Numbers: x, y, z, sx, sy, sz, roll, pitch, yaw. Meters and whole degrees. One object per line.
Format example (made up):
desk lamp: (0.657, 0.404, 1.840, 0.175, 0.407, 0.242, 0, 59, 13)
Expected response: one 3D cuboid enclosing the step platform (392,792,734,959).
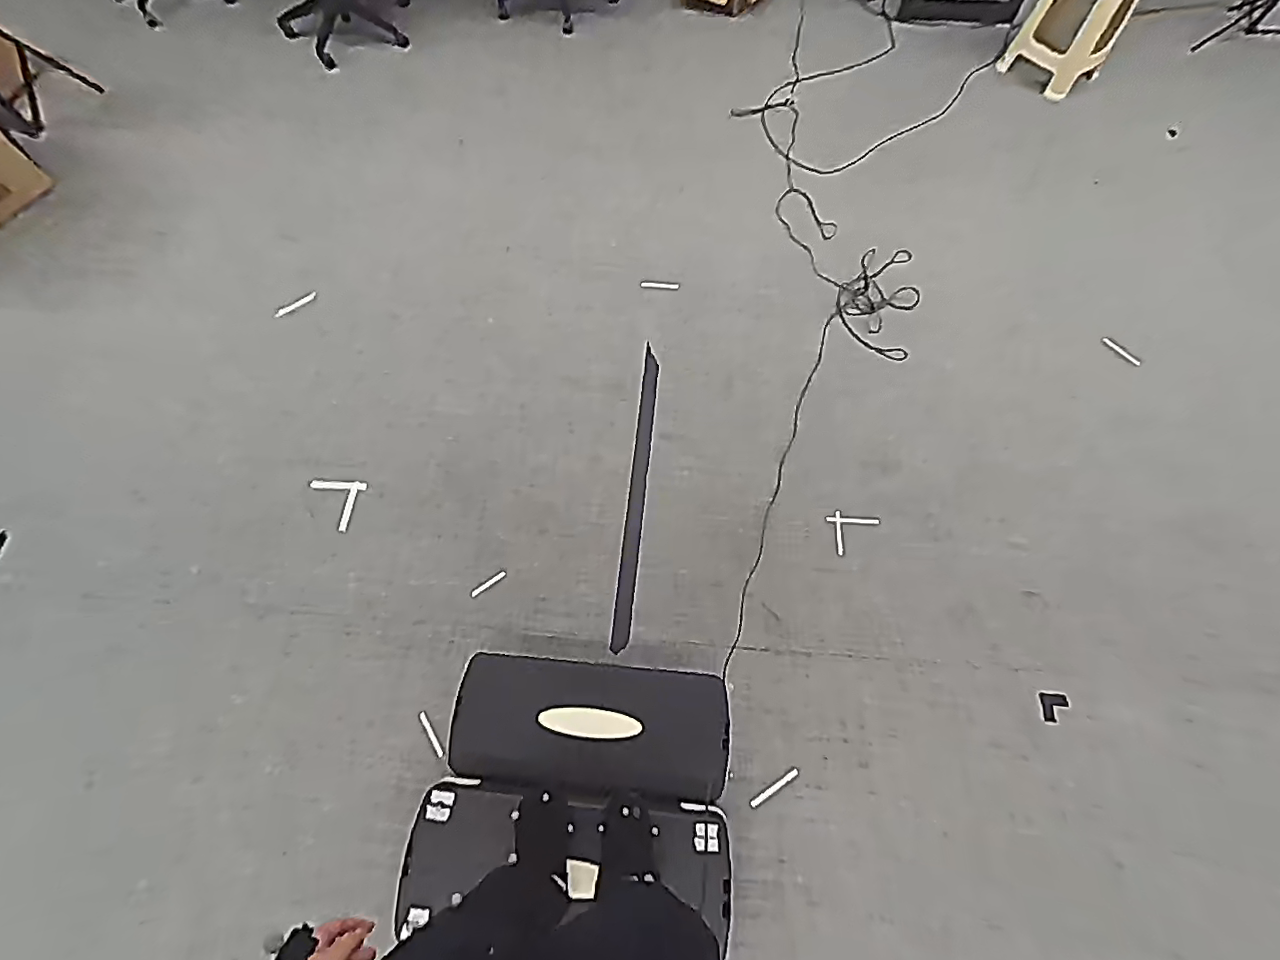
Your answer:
step platform: (-0.147, 0.878, 1.137, 0.684, 0.204, 0.286, 8, 63, 6)
